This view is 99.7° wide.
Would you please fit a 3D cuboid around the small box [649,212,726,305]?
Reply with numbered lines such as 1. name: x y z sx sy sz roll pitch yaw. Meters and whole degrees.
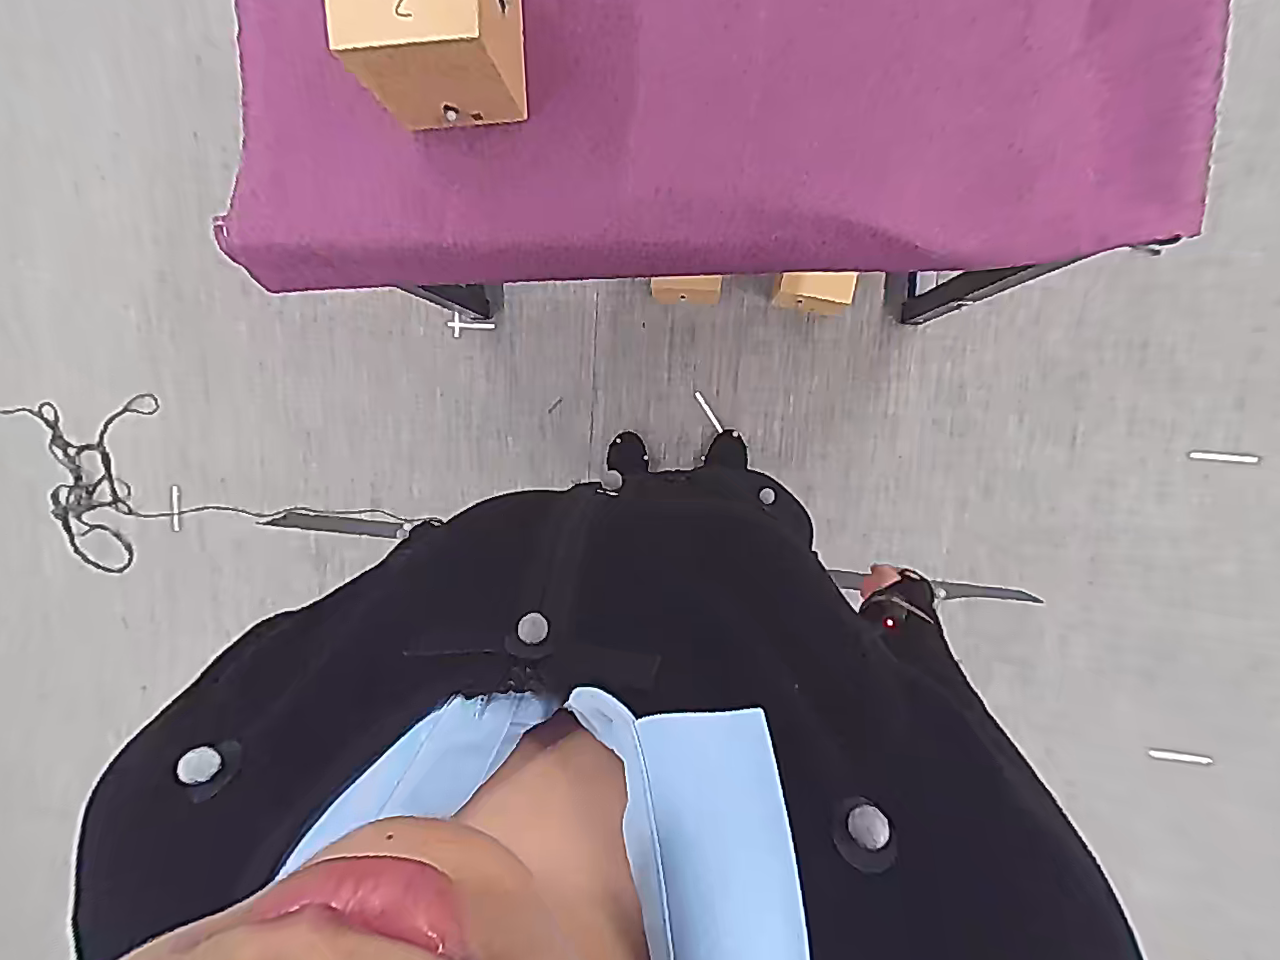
1. small box: 0.117 -0.539 1.337 0.168 0.176 0.179 5 97 4

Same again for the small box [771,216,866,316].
1. small box: 0.423 -0.509 1.314 0.168 0.176 0.179 12 97 4
